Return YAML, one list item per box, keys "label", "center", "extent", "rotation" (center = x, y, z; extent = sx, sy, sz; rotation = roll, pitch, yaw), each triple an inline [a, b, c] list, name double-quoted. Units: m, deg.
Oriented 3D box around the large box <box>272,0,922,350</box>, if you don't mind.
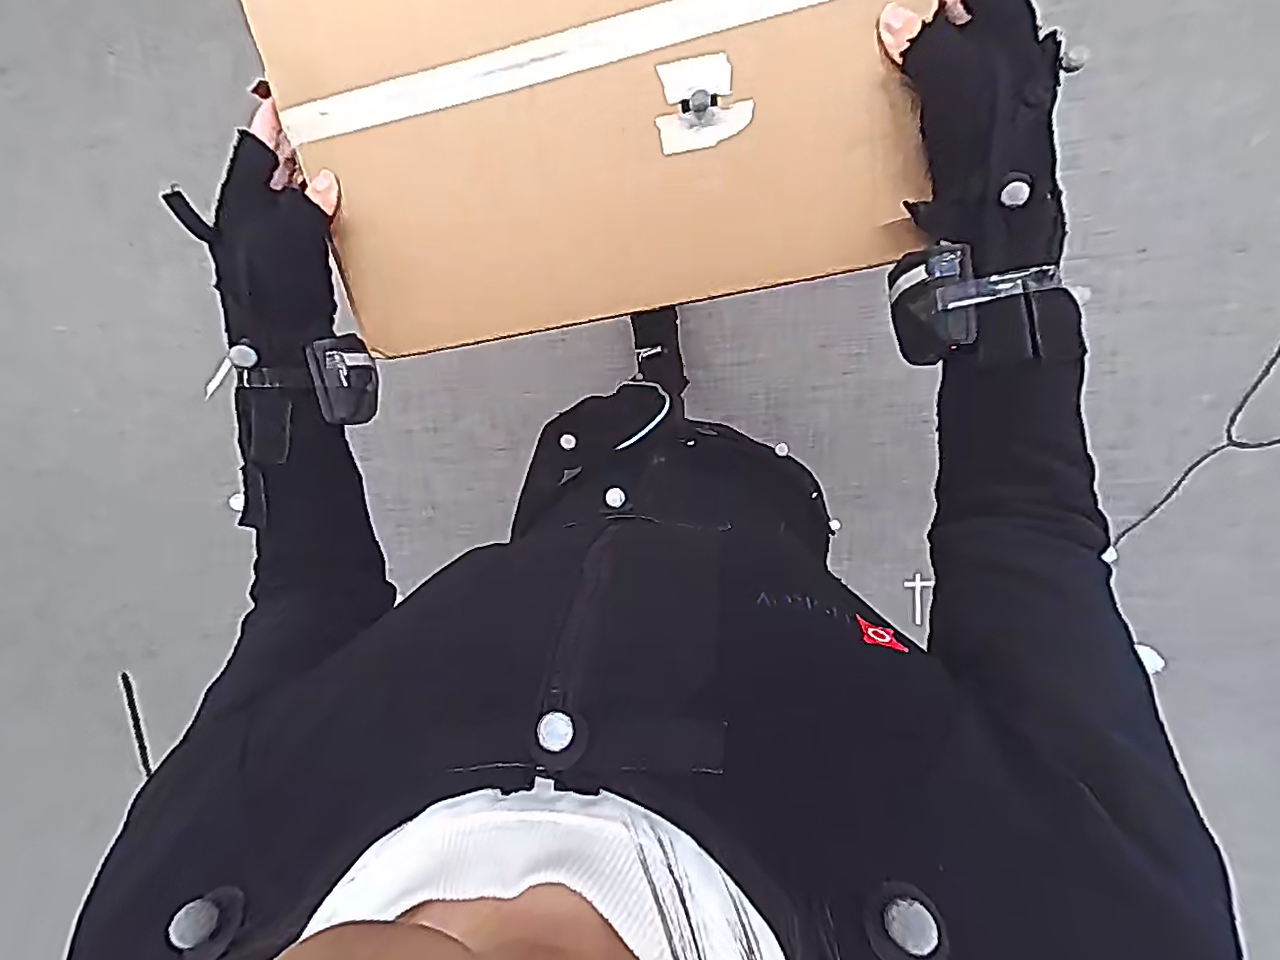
- label: "large box"
  center: [-0.020, -0.324, 0.486]
  extent: [0.408, 0.320, 0.320]
  rotation: [-8, 110, 9]
